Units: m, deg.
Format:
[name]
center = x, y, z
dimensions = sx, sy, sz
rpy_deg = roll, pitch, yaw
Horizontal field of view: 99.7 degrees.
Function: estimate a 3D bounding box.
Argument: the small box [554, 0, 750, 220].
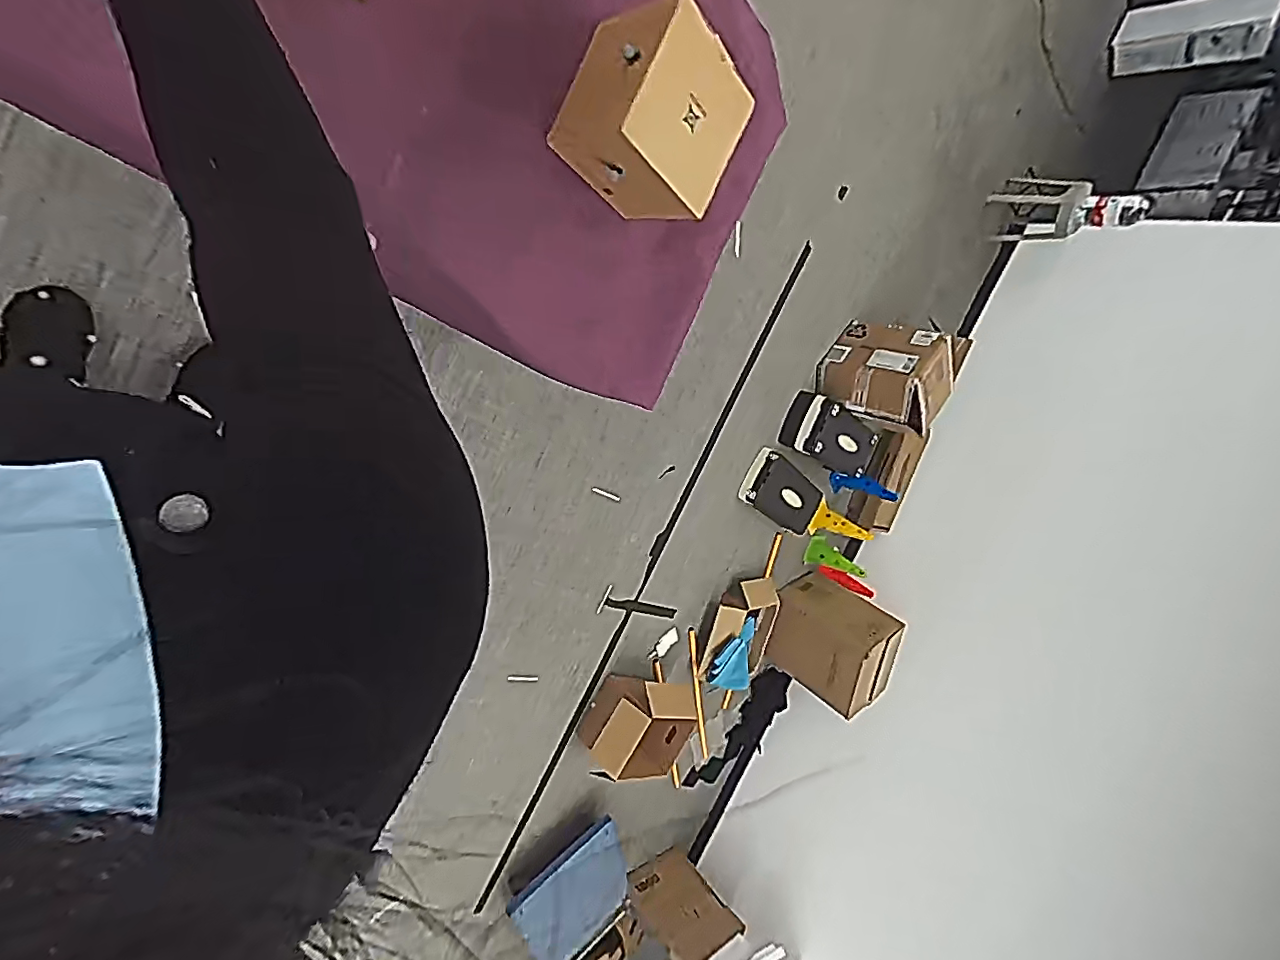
[small box]
center = 0.009, -0.478, 0.728
dimensions = 0.168, 0.176, 0.179
rpy_deg = 24, 92, -47
